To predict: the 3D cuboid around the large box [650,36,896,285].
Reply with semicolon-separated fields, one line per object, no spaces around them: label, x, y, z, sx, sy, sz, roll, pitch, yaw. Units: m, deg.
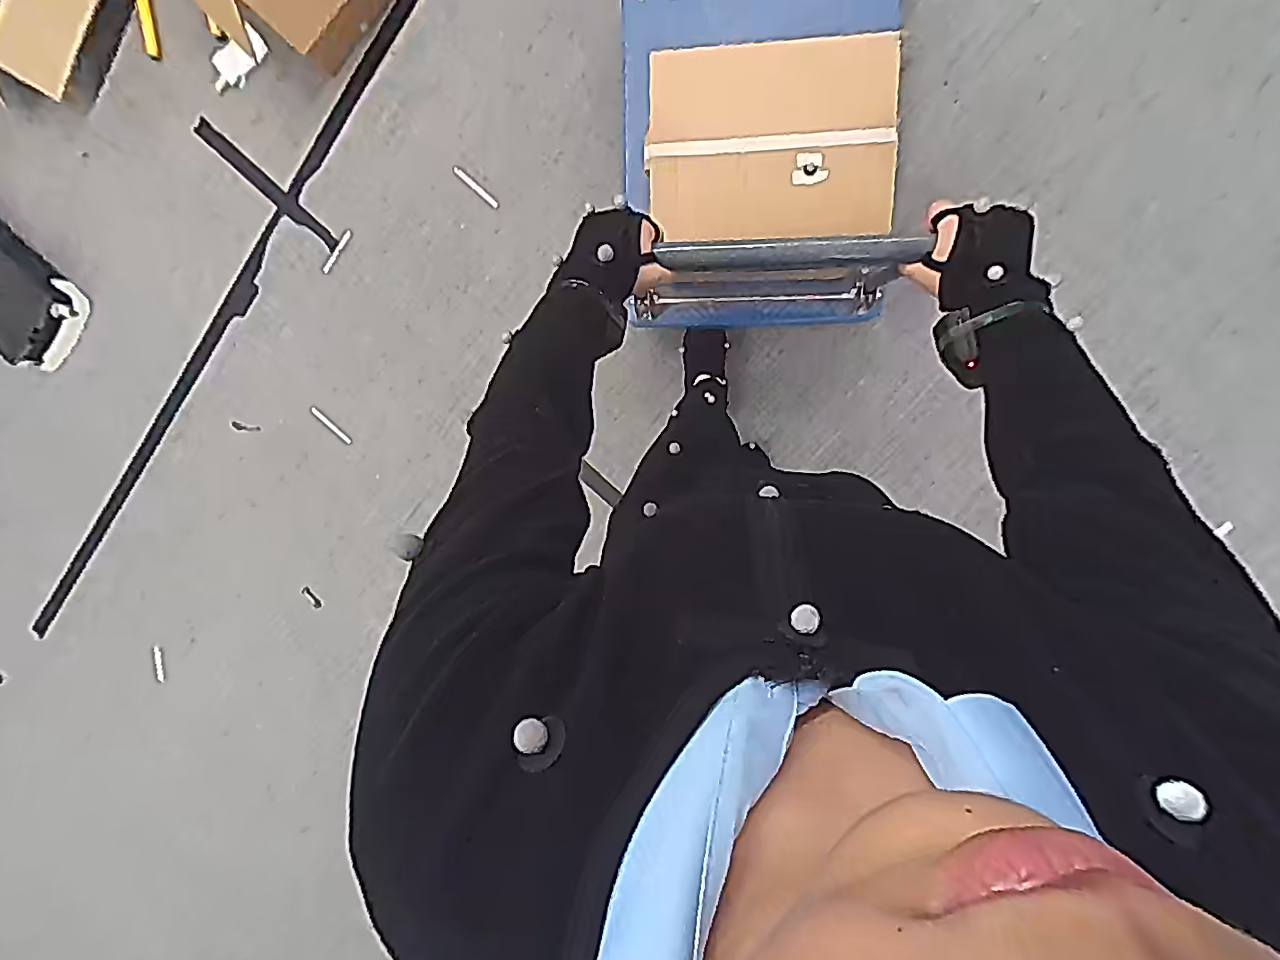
large box;0.232;-0.580;1.055;0.408;0.320;0.320;0;99;6
